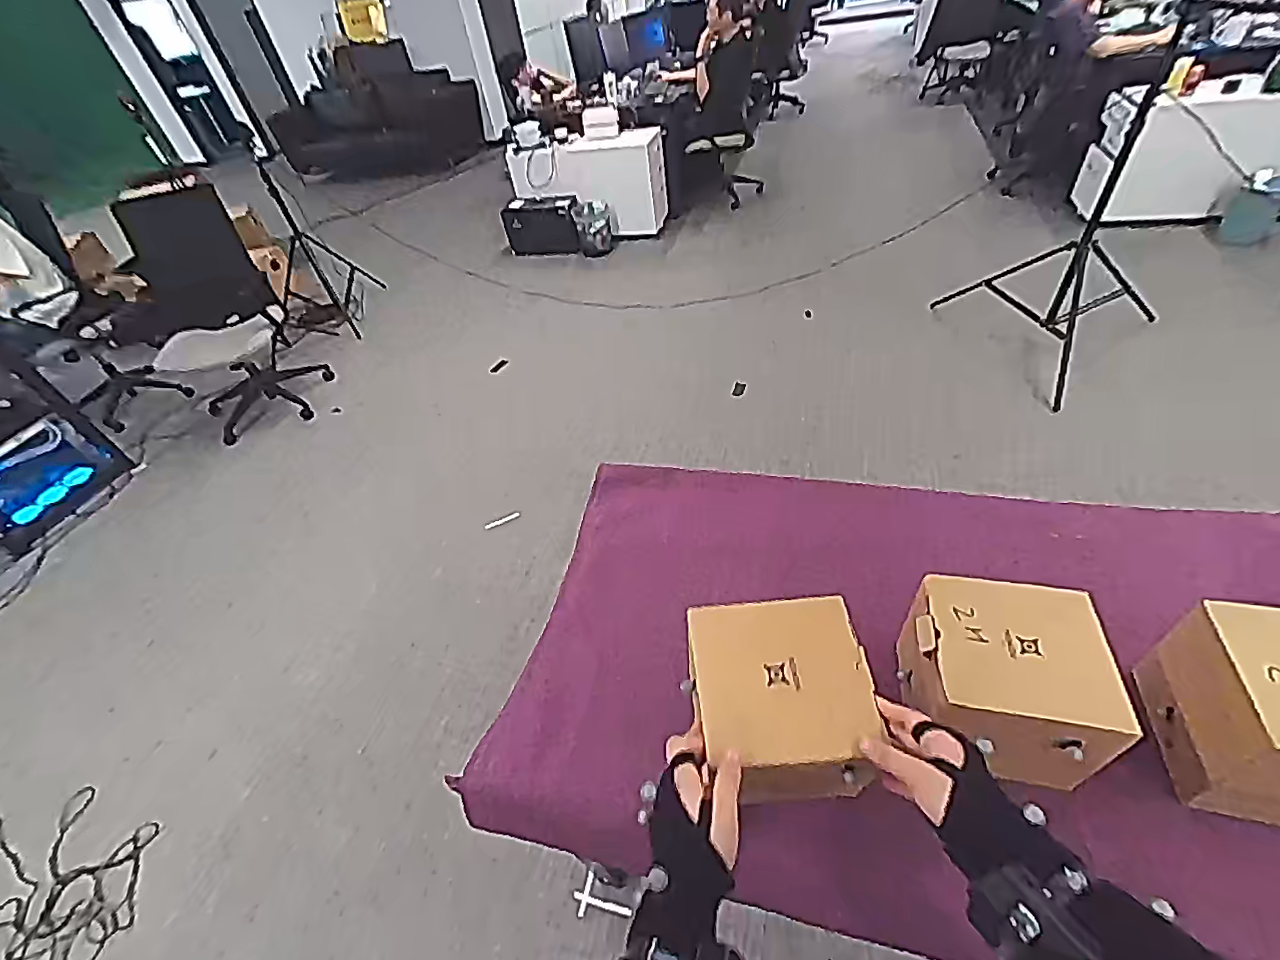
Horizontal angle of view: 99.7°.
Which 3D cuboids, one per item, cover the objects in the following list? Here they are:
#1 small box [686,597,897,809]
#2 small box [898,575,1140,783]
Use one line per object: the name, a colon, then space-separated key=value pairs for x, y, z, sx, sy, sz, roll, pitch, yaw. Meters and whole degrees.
small box: x=0.150 y=0.251 z=0.600 sx=0.179 sy=0.176 sz=0.168 roll=-7 pitch=49 yaw=0
small box: x=0.425 y=0.238 z=0.646 sx=0.179 sy=0.176 sz=0.168 roll=4 pitch=45 yaw=15
